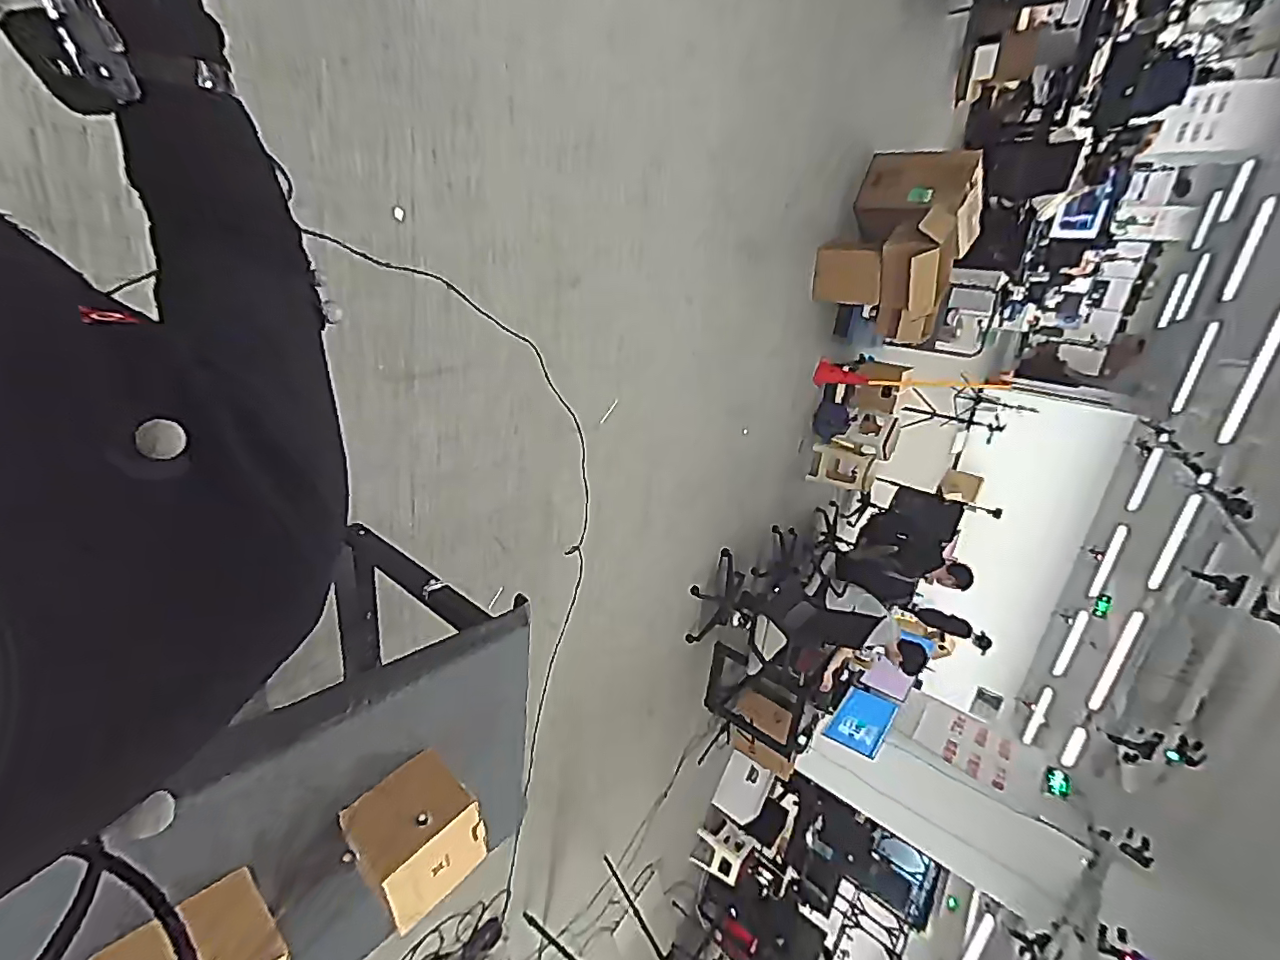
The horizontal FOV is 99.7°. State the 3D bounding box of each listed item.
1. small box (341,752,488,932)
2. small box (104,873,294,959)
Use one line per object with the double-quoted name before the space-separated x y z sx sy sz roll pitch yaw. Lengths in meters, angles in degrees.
"small box" -0.405 0.642 0.983 0.179 0.176 0.168 -27 127 -43
"small box" -0.602 0.703 0.742 0.179 0.176 0.168 -15 119 -49
